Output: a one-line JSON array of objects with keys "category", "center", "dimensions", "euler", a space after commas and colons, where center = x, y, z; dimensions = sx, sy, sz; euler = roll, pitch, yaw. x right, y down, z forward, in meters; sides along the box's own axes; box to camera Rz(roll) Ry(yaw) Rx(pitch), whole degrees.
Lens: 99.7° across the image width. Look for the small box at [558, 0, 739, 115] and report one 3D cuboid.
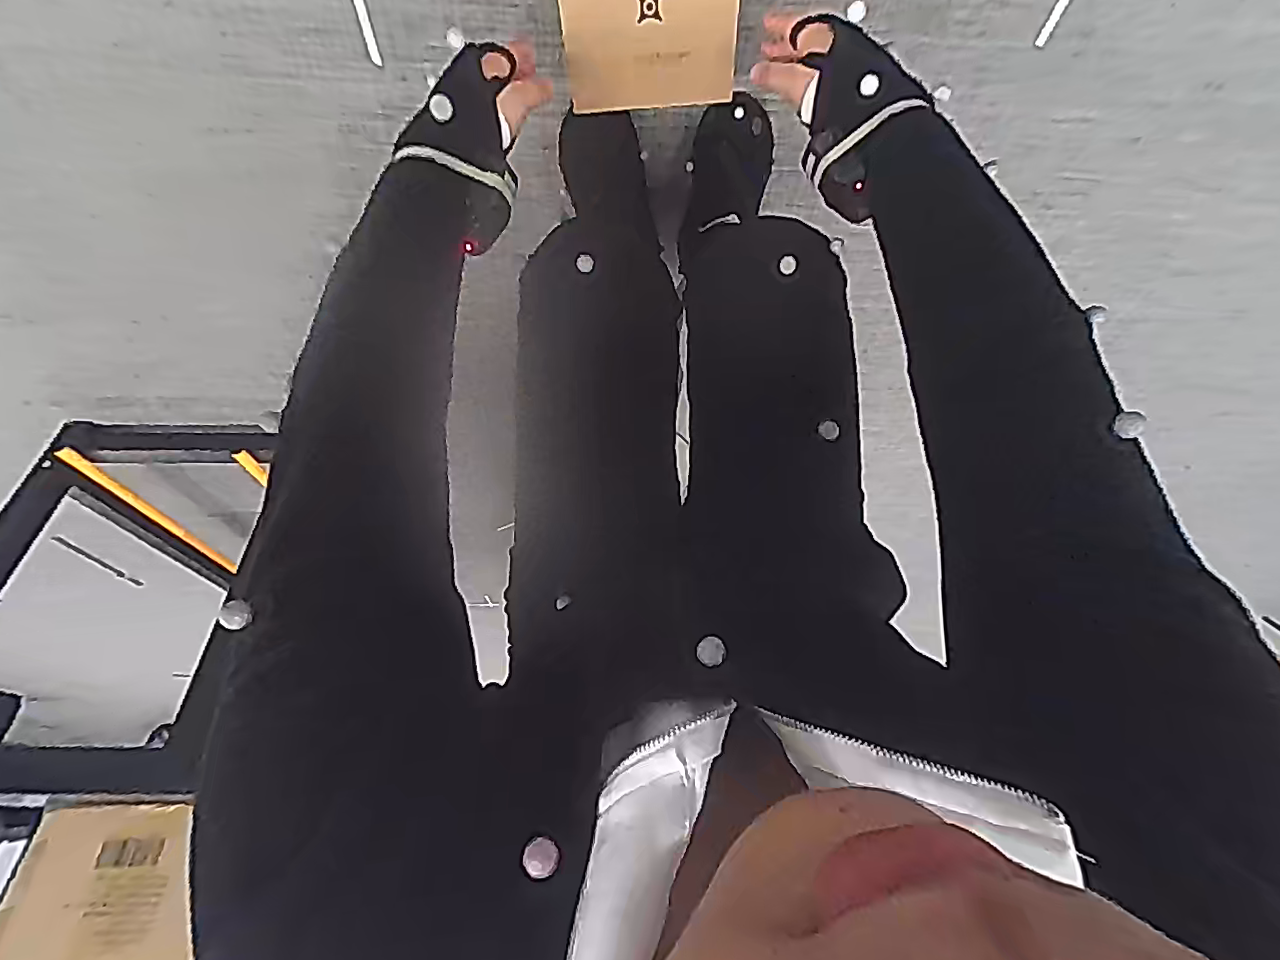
[{"category": "small box", "center": [0.006, -0.495, 0.526], "dimensions": [0.168, 0.176, 0.179], "euler": [-2, 149, 3]}]
